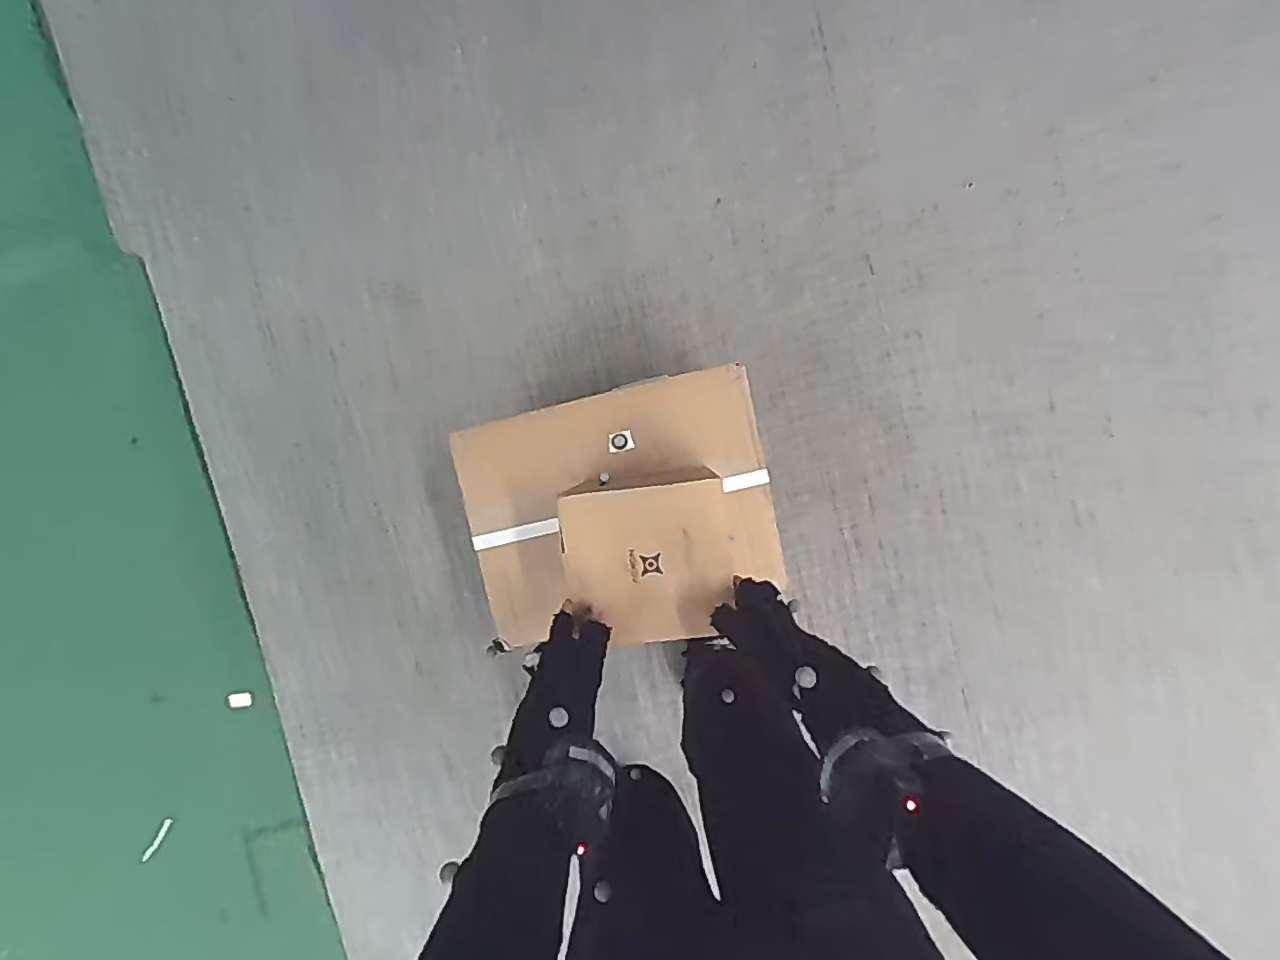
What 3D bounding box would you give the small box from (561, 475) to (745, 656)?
[{"bbox_3d":[0.018,0.089,0.640,0.179,0.176,0.168,-8,95,3],"label":"small box"}]
